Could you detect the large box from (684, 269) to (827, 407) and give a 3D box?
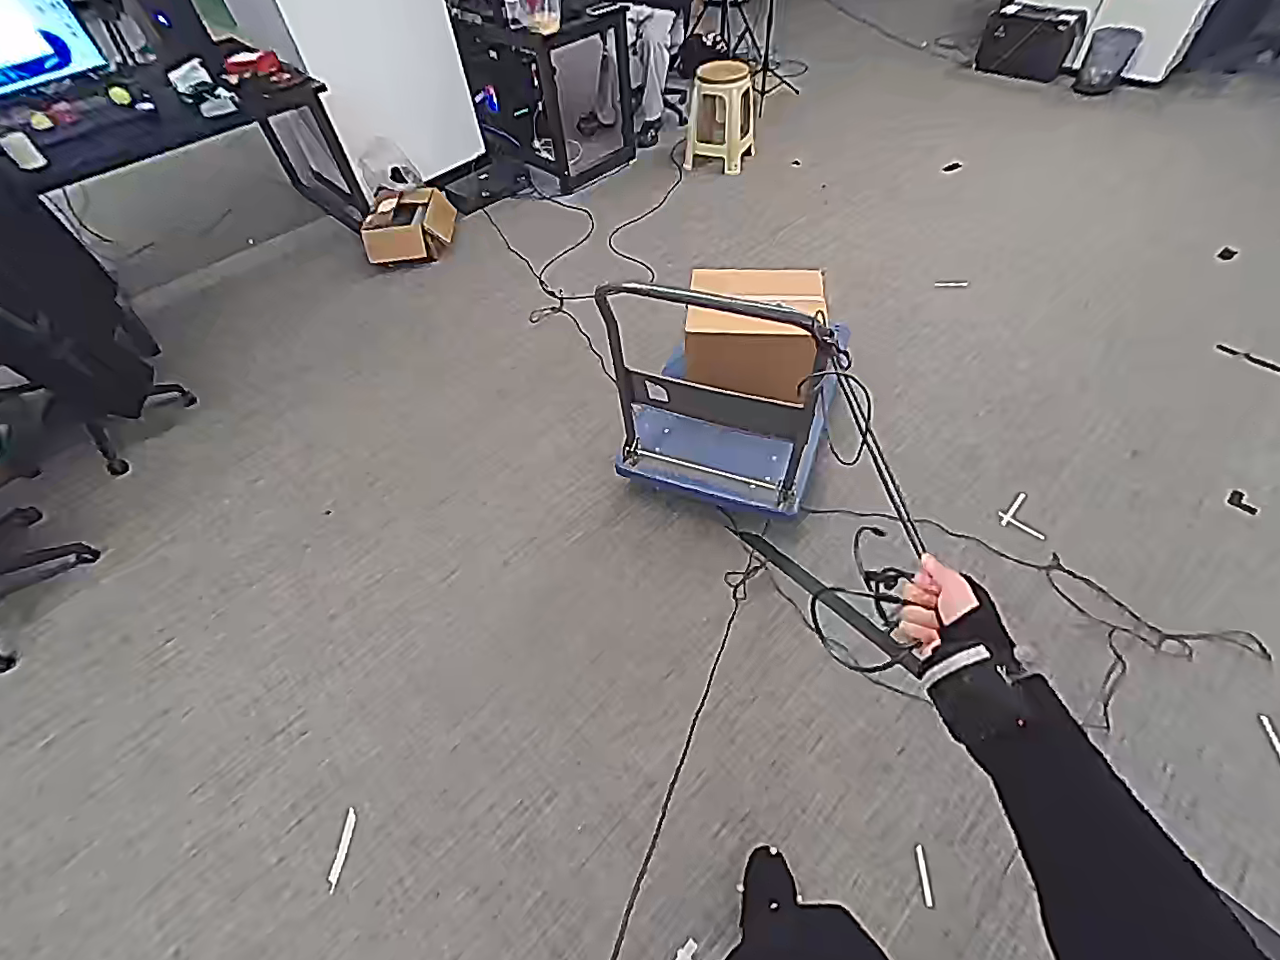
[{"bbox_3d":[0.349,-0.451,1.728,0.408,0.320,0.320,4,56,8],"label":"large box"}]
